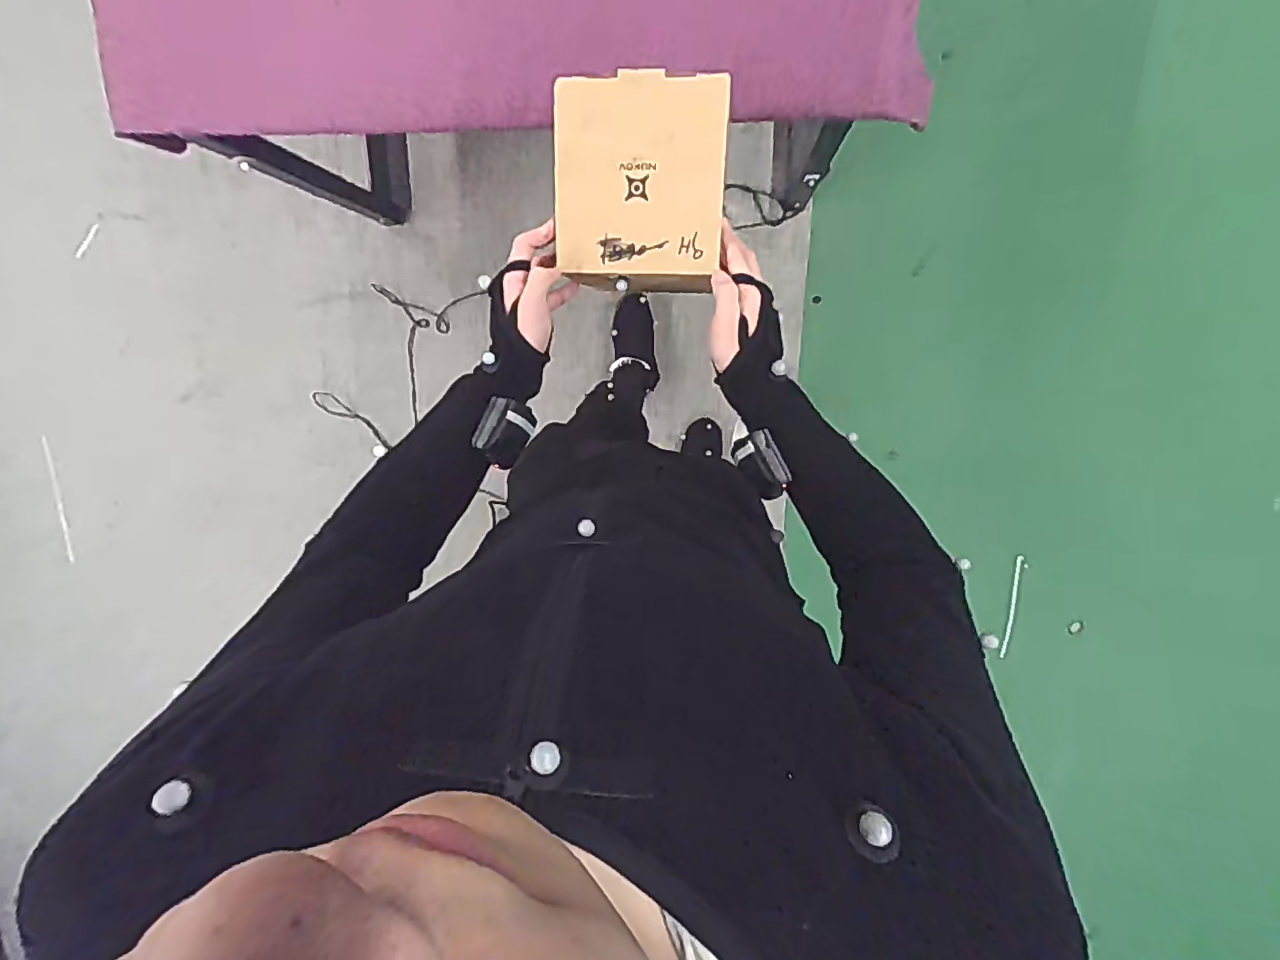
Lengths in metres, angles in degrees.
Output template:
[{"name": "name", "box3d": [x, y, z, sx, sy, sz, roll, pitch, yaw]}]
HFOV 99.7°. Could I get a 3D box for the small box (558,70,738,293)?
[{"name": "small box", "box3d": [0.012, -0.307, 0.589, 0.168, 0.176, 0.179, 4, 105, 6]}]
